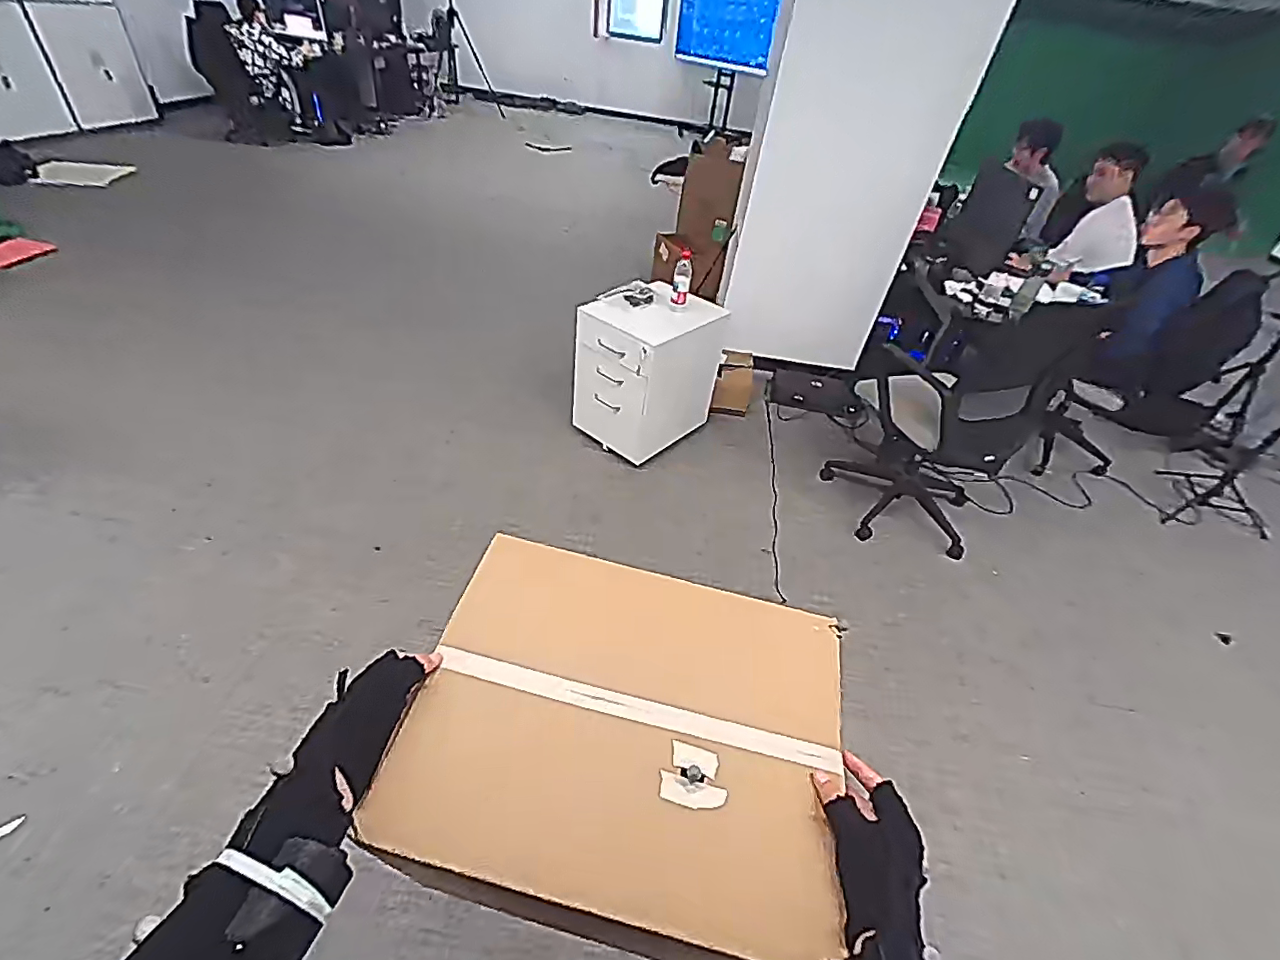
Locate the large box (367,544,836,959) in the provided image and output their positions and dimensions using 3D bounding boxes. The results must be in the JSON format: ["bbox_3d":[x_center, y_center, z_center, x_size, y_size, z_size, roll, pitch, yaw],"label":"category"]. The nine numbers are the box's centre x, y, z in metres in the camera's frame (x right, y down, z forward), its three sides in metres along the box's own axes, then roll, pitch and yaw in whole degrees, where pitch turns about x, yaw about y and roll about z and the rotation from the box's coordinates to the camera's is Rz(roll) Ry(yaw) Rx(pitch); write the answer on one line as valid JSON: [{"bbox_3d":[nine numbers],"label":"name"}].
[{"bbox_3d":[-0.025,0.326,0.646,0.408,0.320,0.320,14,48,4],"label":"large box"}]
